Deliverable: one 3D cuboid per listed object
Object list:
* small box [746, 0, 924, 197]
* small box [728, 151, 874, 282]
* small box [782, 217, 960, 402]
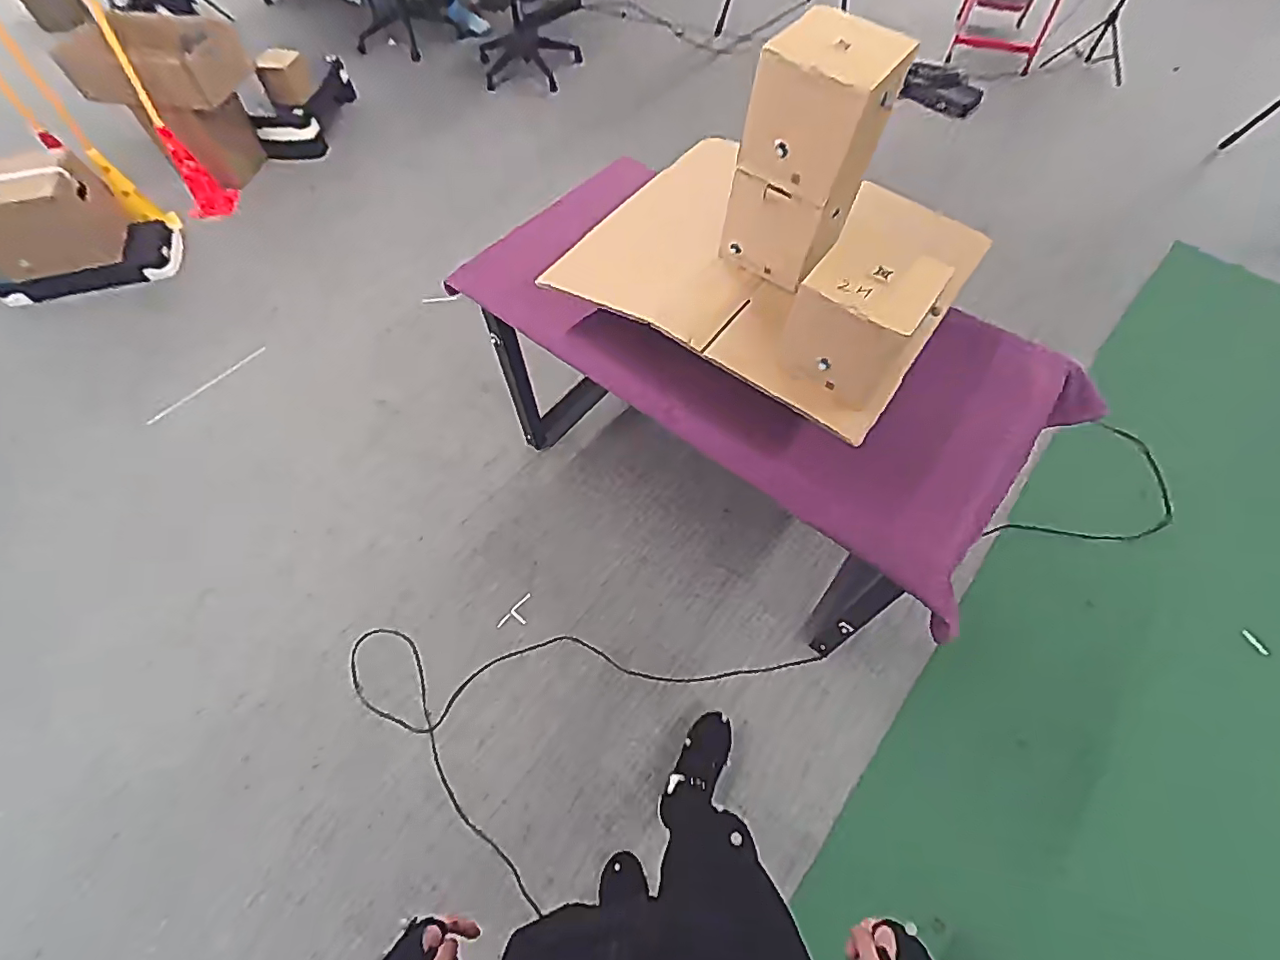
[{"bbox_3d":[0.279,-0.566,0.809,0.168,0.176,0.179,33,67,14],"label":"small box"},{"bbox_3d":[0.270,-0.484,0.949,0.168,0.176,0.179,34,66,14],"label":"small box"},{"bbox_3d":[0.342,-0.258,0.833,0.168,0.176,0.179,34,67,16],"label":"small box"}]
